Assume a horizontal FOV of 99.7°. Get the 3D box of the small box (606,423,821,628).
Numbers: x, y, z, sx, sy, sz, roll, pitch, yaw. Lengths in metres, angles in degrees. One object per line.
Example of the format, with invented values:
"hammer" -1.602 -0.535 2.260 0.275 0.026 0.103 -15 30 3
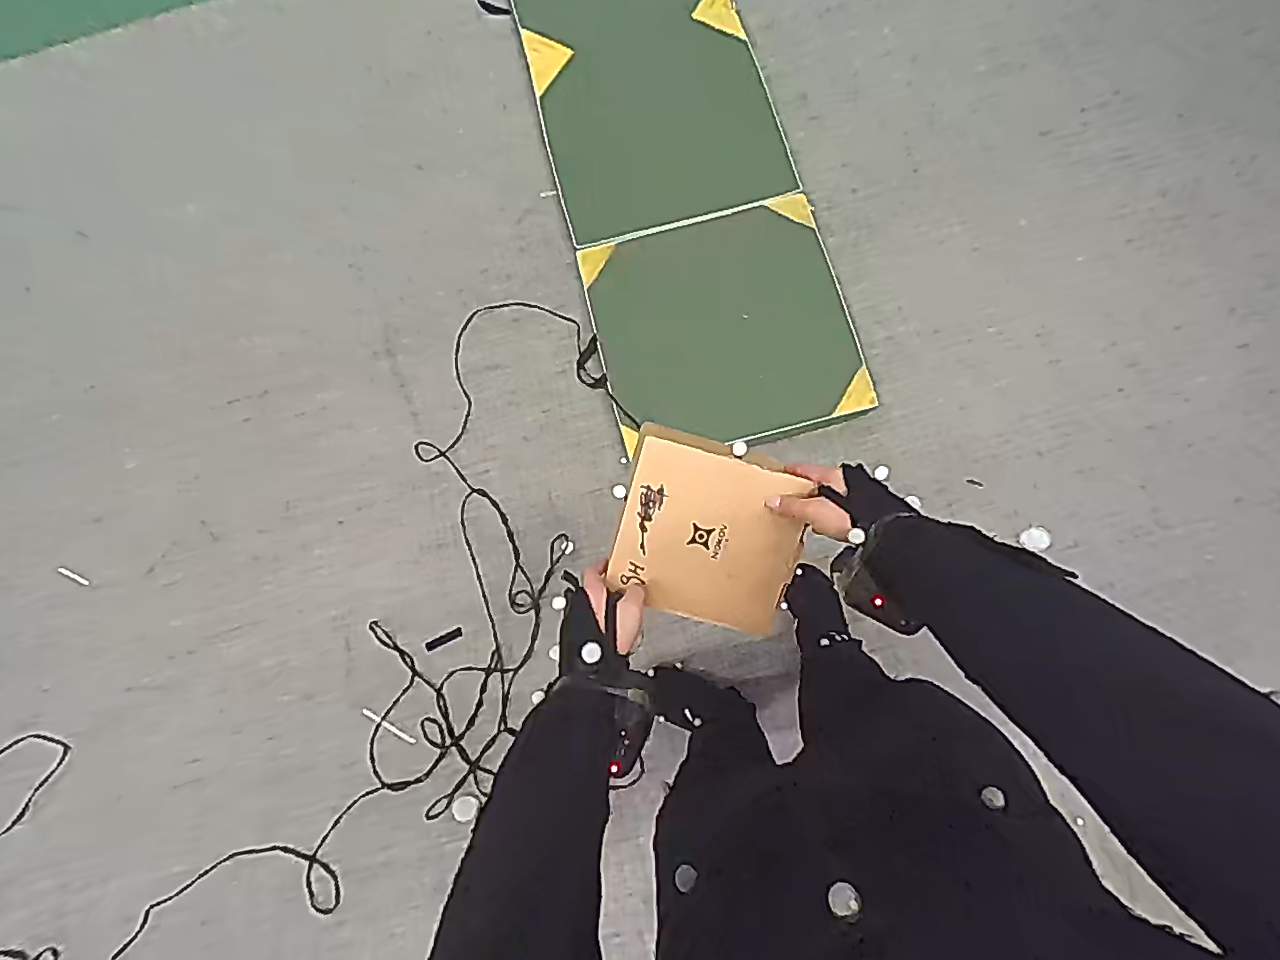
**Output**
"small box" 0.070 0.038 0.608 0.179 0.176 0.168 16 99 -3
